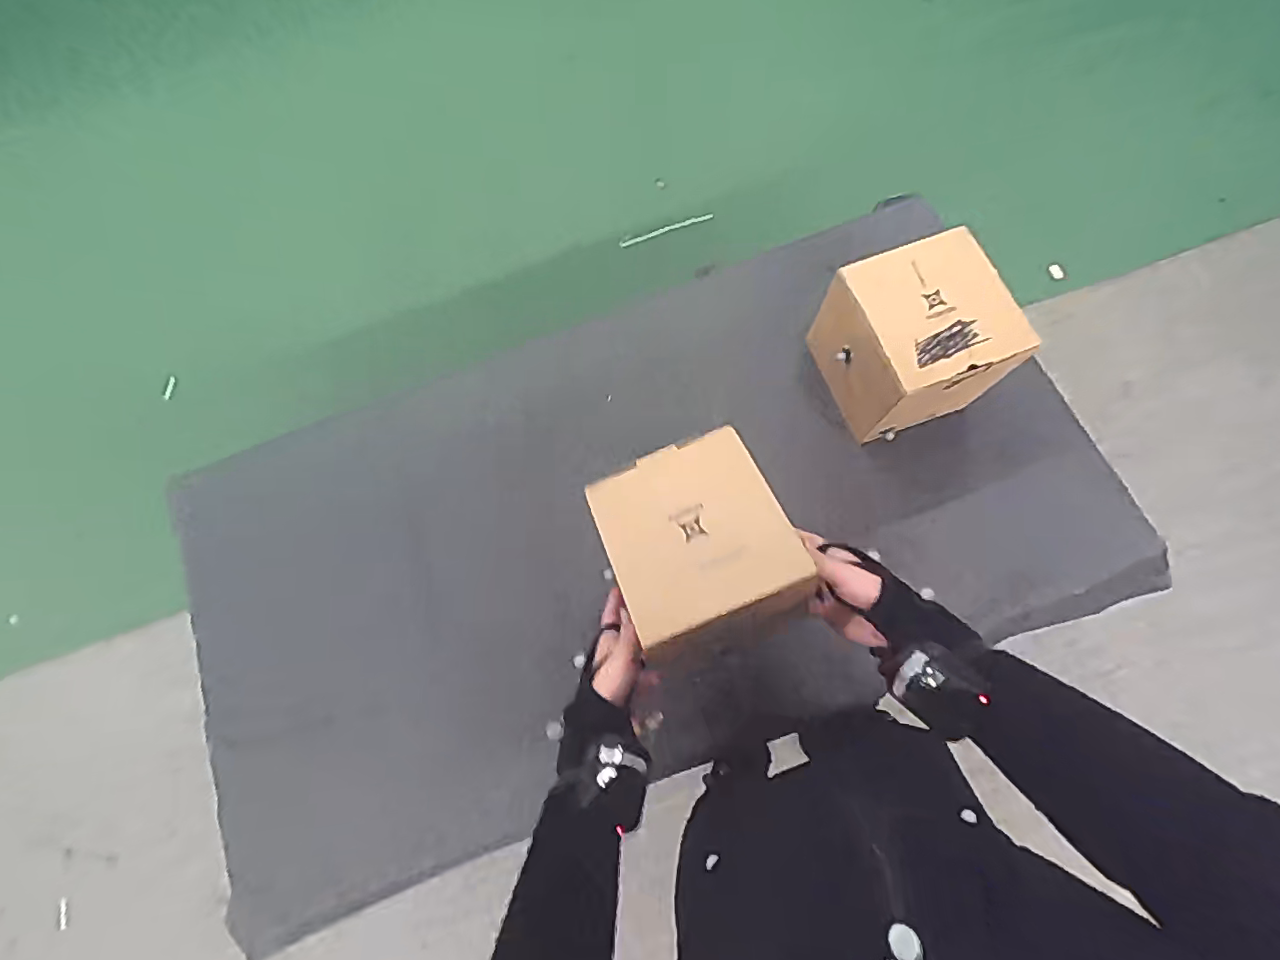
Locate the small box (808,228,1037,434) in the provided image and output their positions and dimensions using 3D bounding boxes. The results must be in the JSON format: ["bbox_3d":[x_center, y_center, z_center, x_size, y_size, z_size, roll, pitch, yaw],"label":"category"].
[{"bbox_3d":[0.340,-0.175,0.692,0.168,0.176,0.179,-19,74,-3],"label":"small box"}]

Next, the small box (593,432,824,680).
[{"bbox_3d":[0.068,0.086,0.565,0.168,0.176,0.179,-23,59,0],"label":"small box"}]
